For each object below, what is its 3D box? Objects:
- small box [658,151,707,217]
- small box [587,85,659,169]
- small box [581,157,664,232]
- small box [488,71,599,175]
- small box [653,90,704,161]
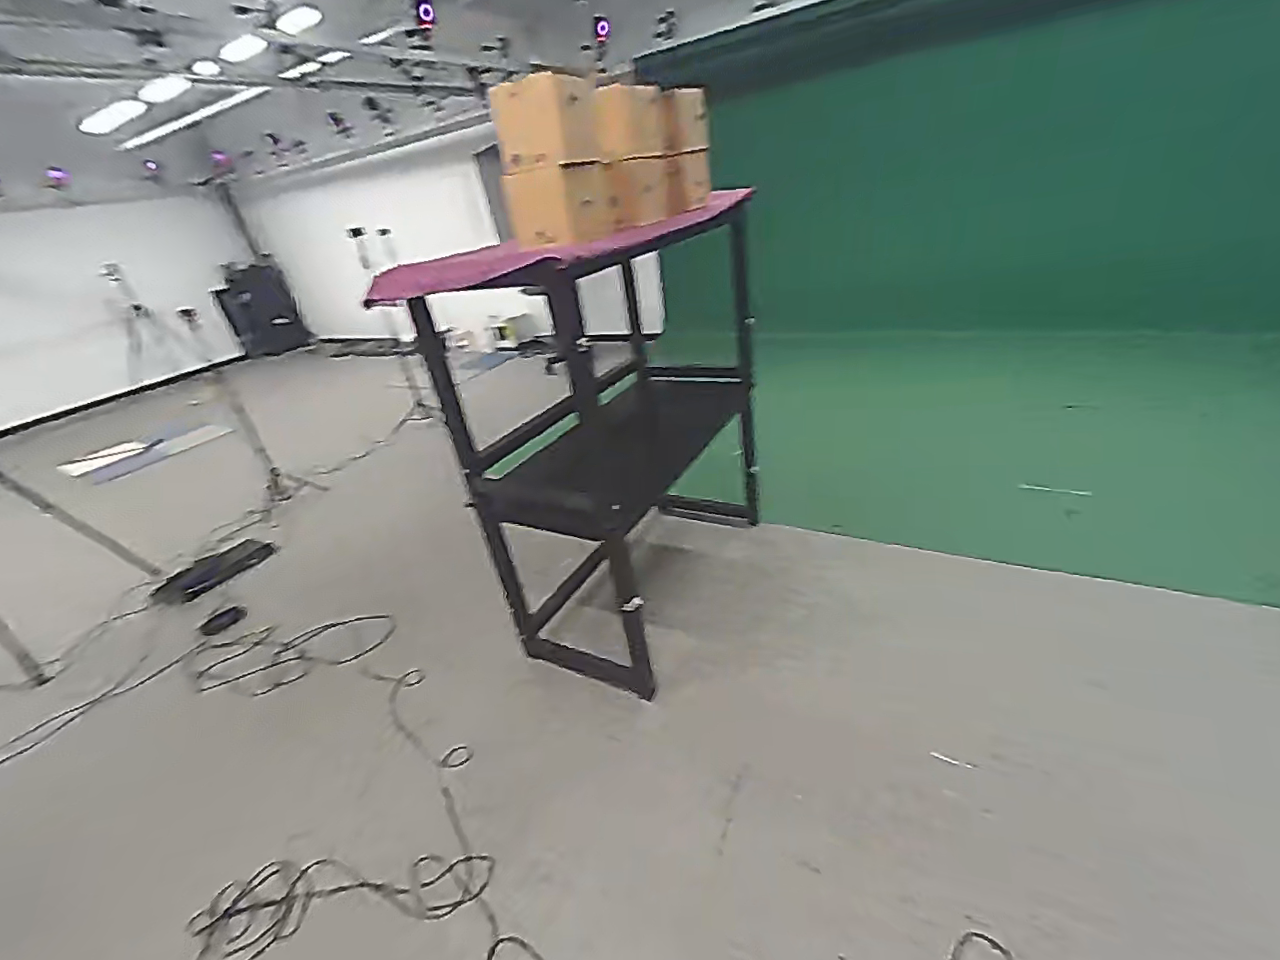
[{"bbox_3d":[0.114,-0.990,1.820,0.179,0.176,0.168,7,34,32],"label":"small box"},{"bbox_3d":[-0.061,-0.965,1.491,0.168,0.176,0.179,11,33,33],"label":"small box"},{"bbox_3d":[-0.043,-0.822,1.568,0.168,0.176,0.179,9,34,30],"label":"small box"},{"bbox_3d":[-0.209,-0.799,1.227,0.168,0.176,0.179,6,32,26],"label":"small box"},{"bbox_3d":[0.095,-1.127,1.733,0.168,0.176,0.179,6,35,31],"label":"small box"}]
